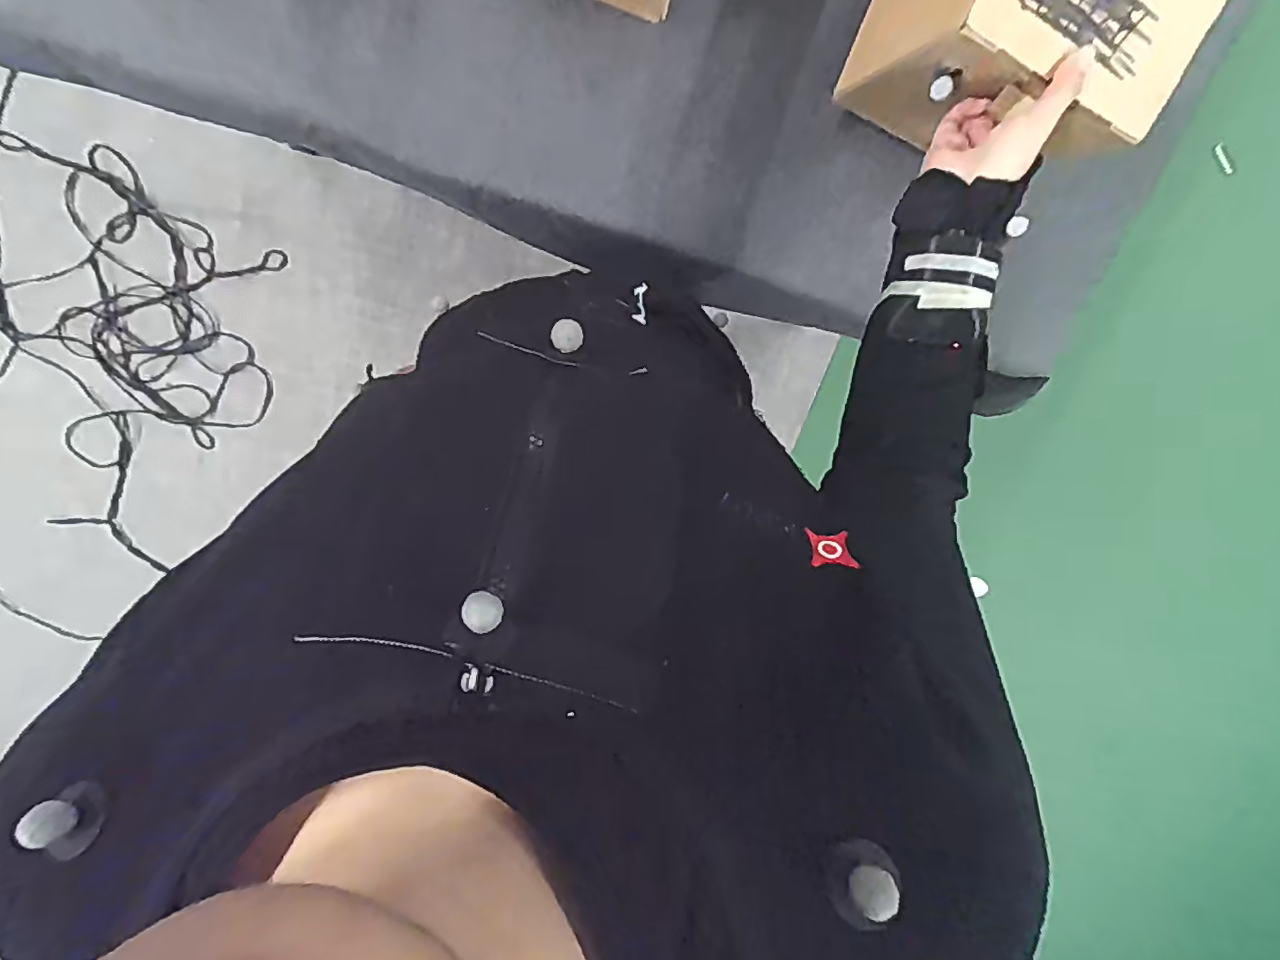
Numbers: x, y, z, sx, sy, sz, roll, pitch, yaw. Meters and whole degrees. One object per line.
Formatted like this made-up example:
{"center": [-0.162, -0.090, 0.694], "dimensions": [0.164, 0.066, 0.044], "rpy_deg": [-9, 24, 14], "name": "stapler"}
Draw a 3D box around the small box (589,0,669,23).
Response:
{"center": [-0.027, -0.470, 0.362], "dimensions": [0.168, 0.176, 0.179], "rpy_deg": [15, 108, -9], "name": "small box"}
